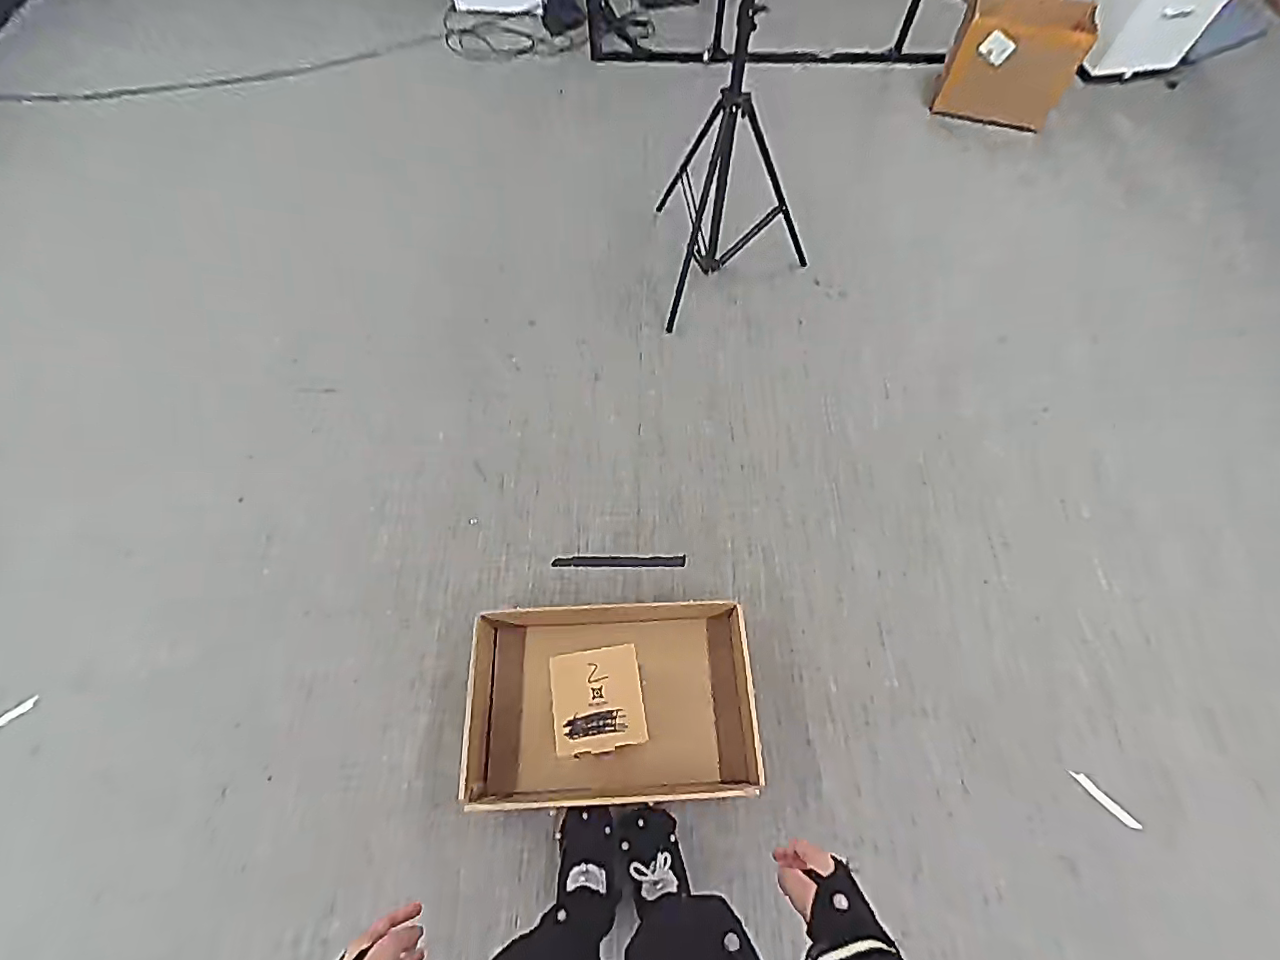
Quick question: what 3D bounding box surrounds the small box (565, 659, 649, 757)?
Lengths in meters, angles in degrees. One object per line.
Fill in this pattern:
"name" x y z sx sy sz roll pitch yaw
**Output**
"small box" -0.073 0.513 1.211 0.168 0.176 0.179 -8 65 -3
